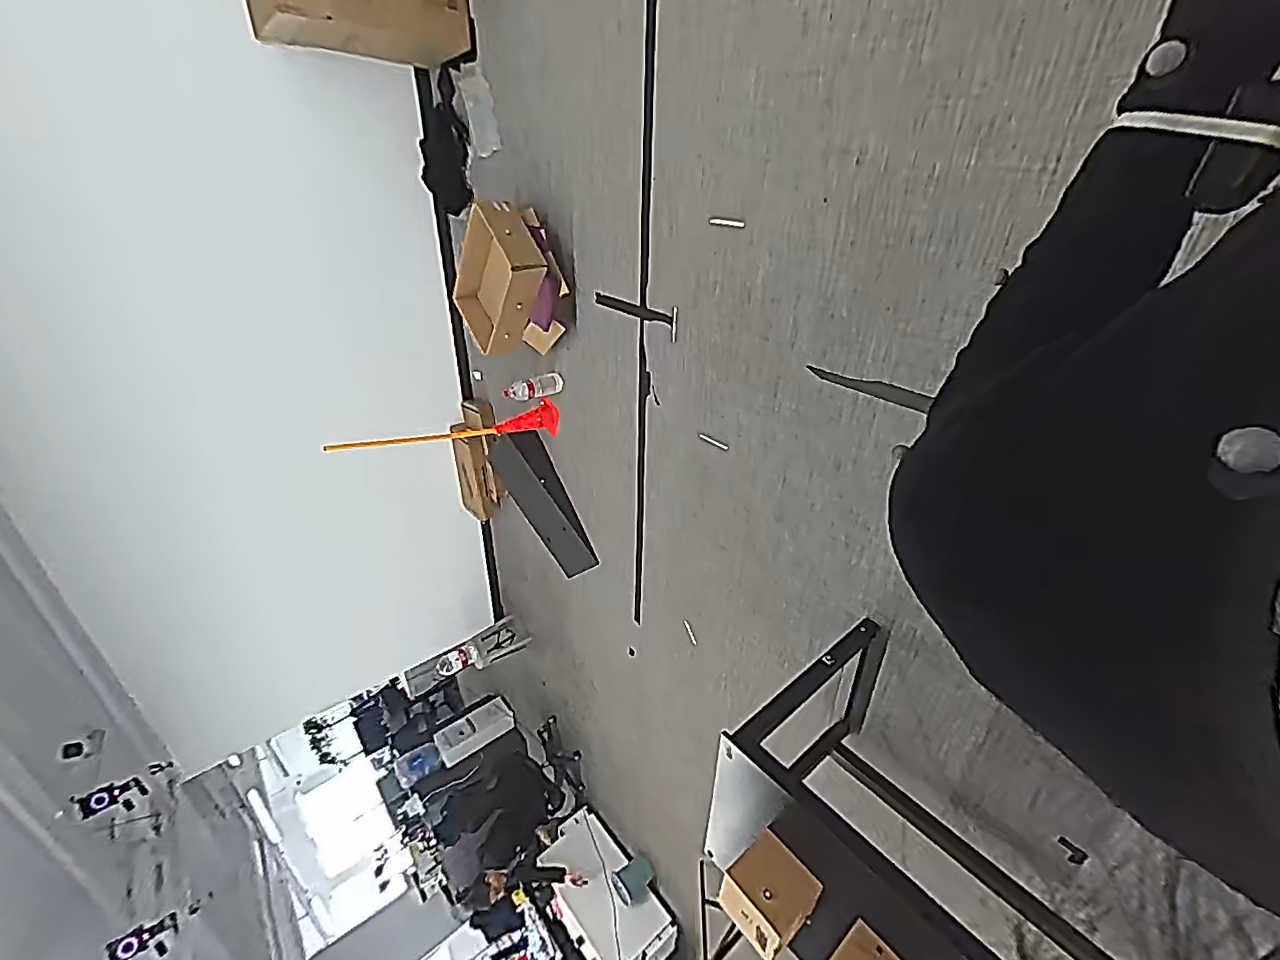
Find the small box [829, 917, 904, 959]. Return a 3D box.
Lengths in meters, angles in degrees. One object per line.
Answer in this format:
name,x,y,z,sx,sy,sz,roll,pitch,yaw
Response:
small box,0.499,1.129,1.194,0.168,0.176,0.179,33,133,41

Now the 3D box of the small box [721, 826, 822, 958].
small box,0.331,1.033,1.369,0.179,0.176,0.168,34,133,40
